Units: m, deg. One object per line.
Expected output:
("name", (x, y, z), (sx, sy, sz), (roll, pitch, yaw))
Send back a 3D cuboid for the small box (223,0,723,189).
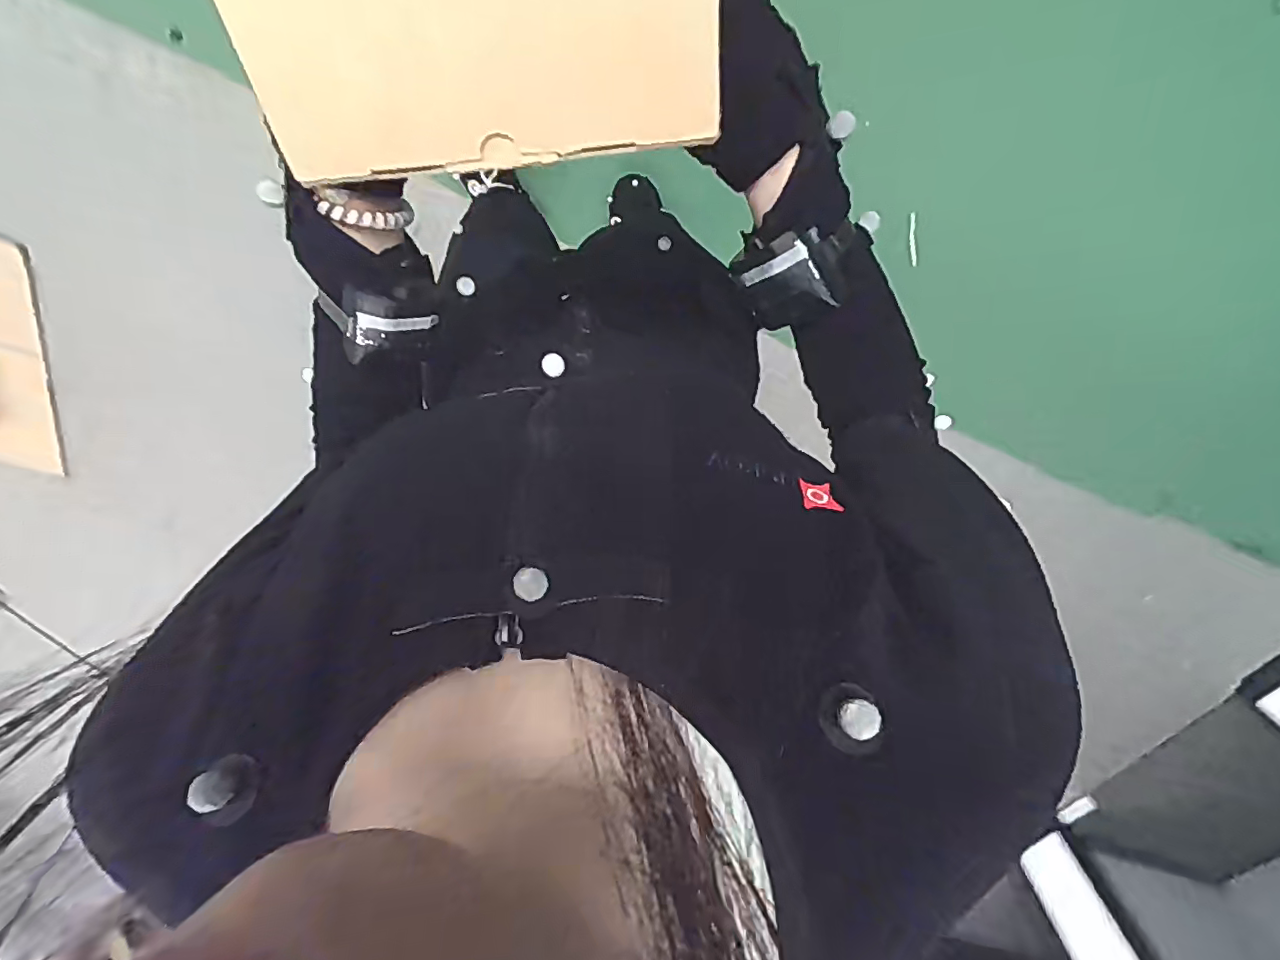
("small box", (-0.058, -0.238, 0.216), (0.168, 0.176, 0.179), (-4, 131, 5))
